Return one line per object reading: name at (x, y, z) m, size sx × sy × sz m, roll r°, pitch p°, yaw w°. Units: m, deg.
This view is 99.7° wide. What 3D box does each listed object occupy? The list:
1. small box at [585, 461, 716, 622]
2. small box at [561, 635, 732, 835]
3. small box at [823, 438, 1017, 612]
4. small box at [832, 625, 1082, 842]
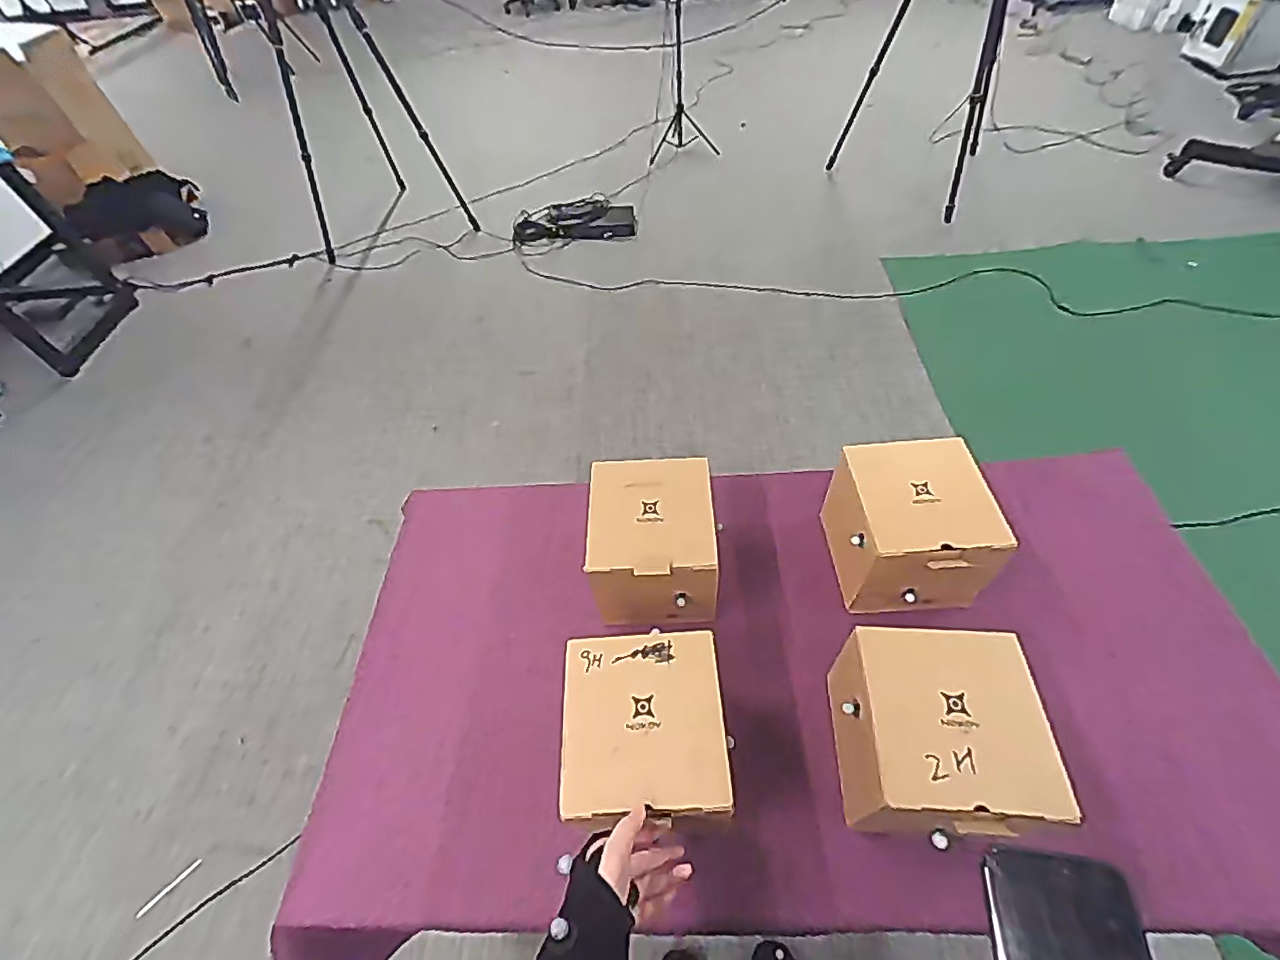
small box at (0.020, 0.095, 0.772) m, size 0.168 × 0.176 × 0.179 m, roll -2°, pitch 52°, yaw 3°
small box at (0.011, 0.295, 0.614) m, size 0.168 × 0.176 × 0.179 m, roll -5°, pitch 52°, yaw 2°
small box at (0.369, 0.066, 0.756) m, size 0.168 × 0.176 × 0.179 m, roll -5°, pitch 52°, yaw 3°
small box at (0.318, 0.278, 0.592) m, size 0.168 × 0.176 × 0.179 m, roll 0°, pitch 52°, yaw 7°
